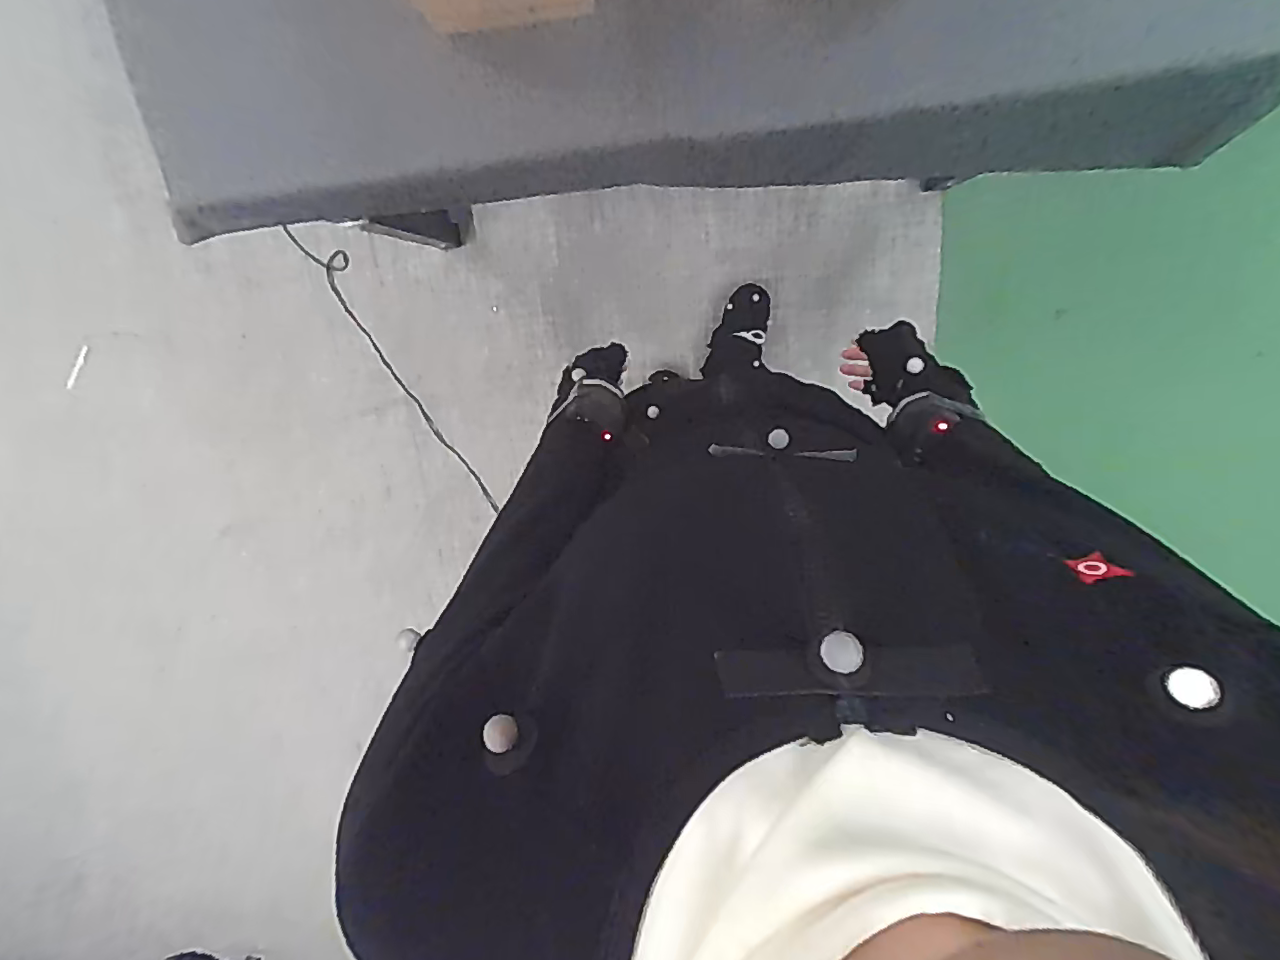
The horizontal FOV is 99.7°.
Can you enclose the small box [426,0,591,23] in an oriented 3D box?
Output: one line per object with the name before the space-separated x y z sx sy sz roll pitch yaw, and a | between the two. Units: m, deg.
small box | -0.137 -0.531 0.459 0.168 0.176 0.179 -5 107 5
